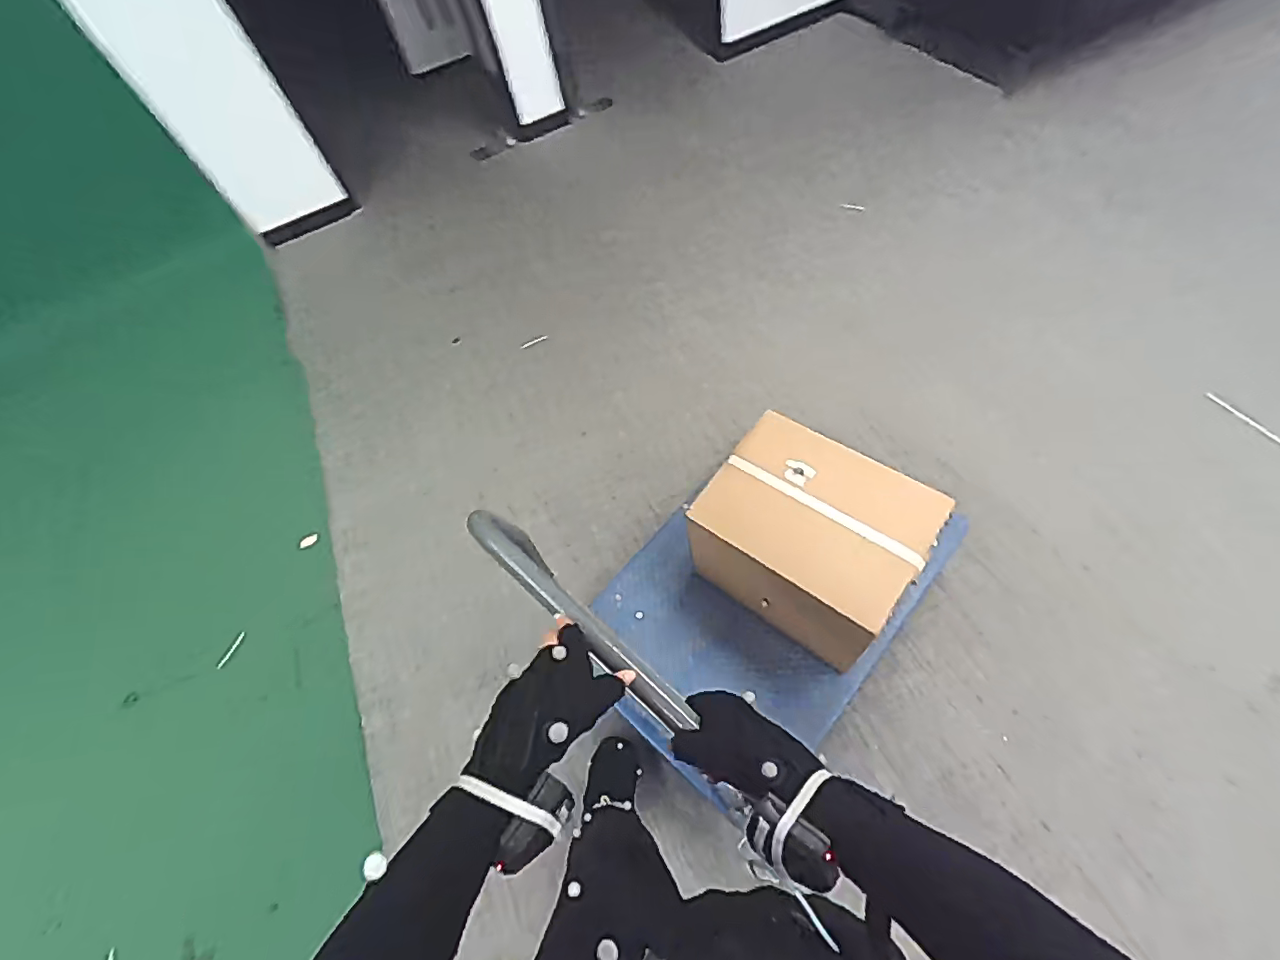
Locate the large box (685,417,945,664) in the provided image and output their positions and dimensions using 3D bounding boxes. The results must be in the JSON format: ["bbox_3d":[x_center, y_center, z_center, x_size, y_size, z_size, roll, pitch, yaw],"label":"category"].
[{"bbox_3d":[0.362,0.133,1.179,0.408,0.320,0.320,31,69,26],"label":"large box"}]
